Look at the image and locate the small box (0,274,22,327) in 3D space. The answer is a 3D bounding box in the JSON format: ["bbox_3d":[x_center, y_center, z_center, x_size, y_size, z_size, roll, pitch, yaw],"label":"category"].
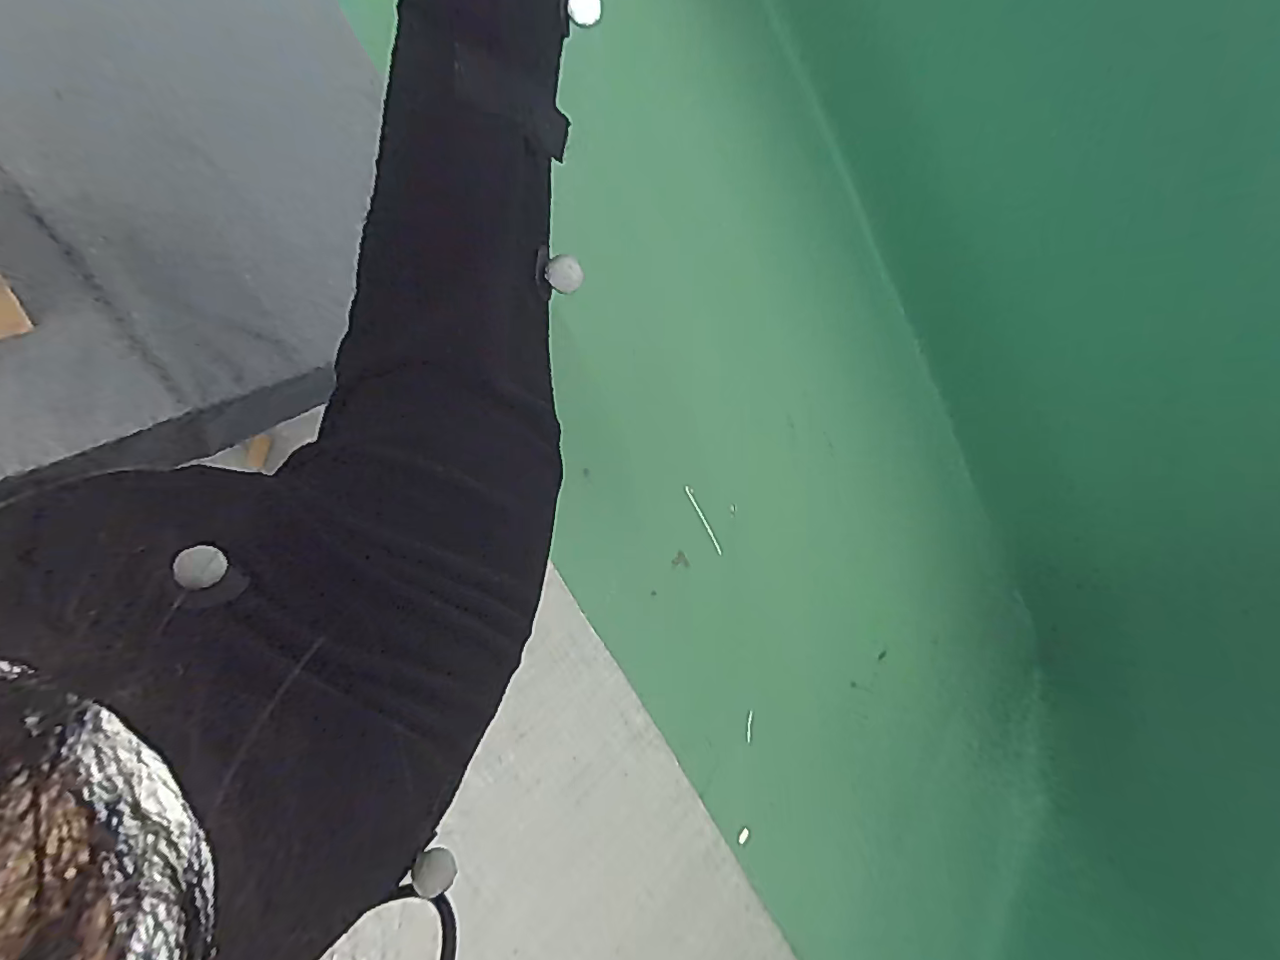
[{"bbox_3d":[-0.692,-0.215,0.450,0.168,0.176,0.179,-39,103,-37],"label":"small box"}]
